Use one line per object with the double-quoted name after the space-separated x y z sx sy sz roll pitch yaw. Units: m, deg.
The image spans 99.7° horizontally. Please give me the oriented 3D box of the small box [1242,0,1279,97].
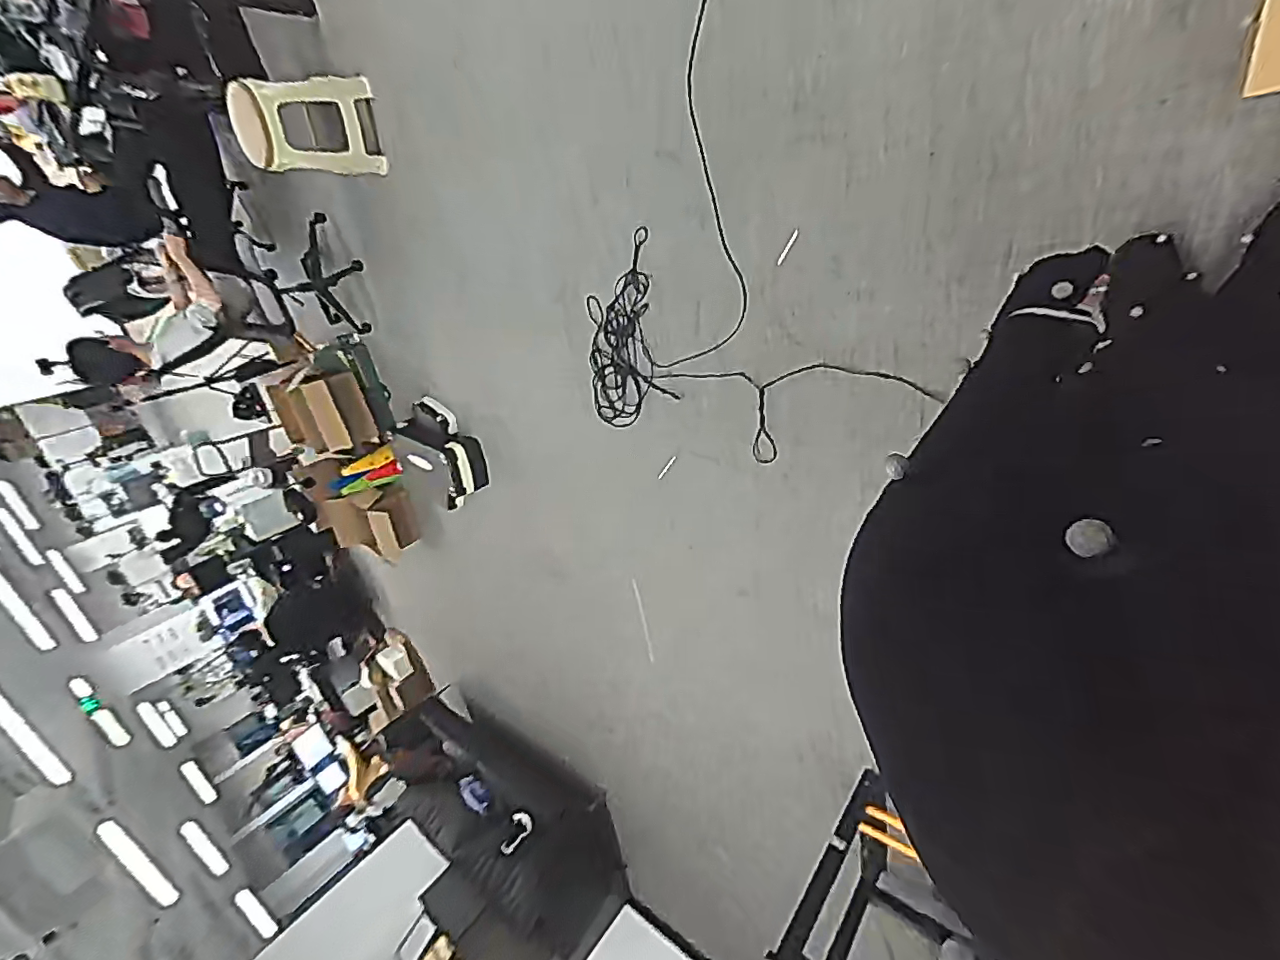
0.936 -0.631 0.713 0.168 0.176 0.179 11 121 41 "small box"
